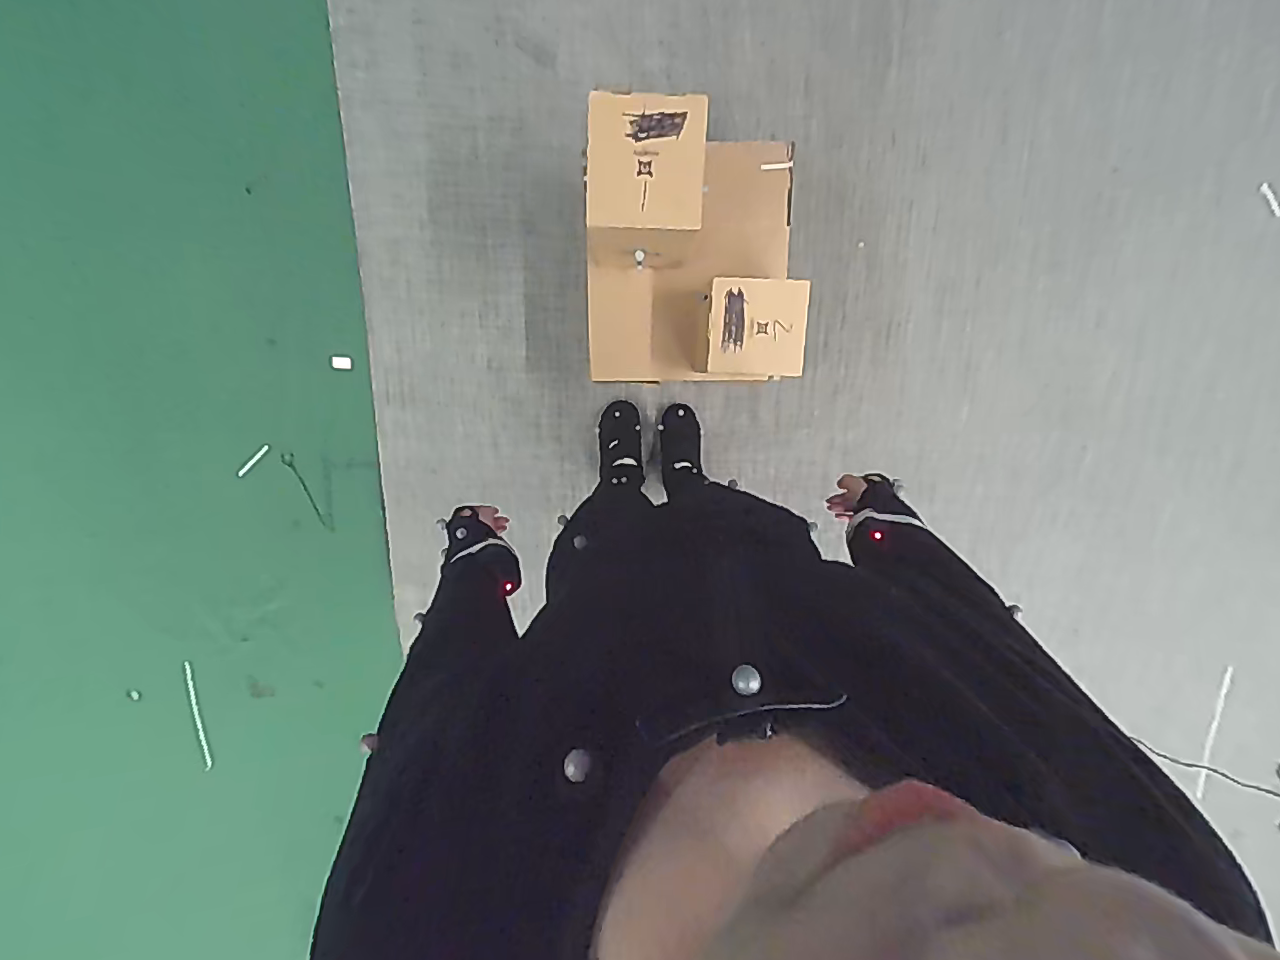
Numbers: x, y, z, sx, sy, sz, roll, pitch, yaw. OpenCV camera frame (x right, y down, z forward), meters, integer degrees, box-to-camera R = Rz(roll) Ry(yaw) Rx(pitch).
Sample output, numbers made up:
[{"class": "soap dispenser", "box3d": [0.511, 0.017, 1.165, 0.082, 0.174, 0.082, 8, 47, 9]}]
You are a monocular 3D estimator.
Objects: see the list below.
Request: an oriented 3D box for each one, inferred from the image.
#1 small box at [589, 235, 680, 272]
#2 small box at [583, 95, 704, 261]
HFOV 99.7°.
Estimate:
[{"class": "small box", "box3d": [-0.006, -0.493, 0.991, 0.168, 0.176, 0.179, 0, 99, 0]}, {"class": "small box", "box3d": [0.003, -0.451, 0.831, 0.168, 0.176, 0.179, 2, 100, 0]}]
